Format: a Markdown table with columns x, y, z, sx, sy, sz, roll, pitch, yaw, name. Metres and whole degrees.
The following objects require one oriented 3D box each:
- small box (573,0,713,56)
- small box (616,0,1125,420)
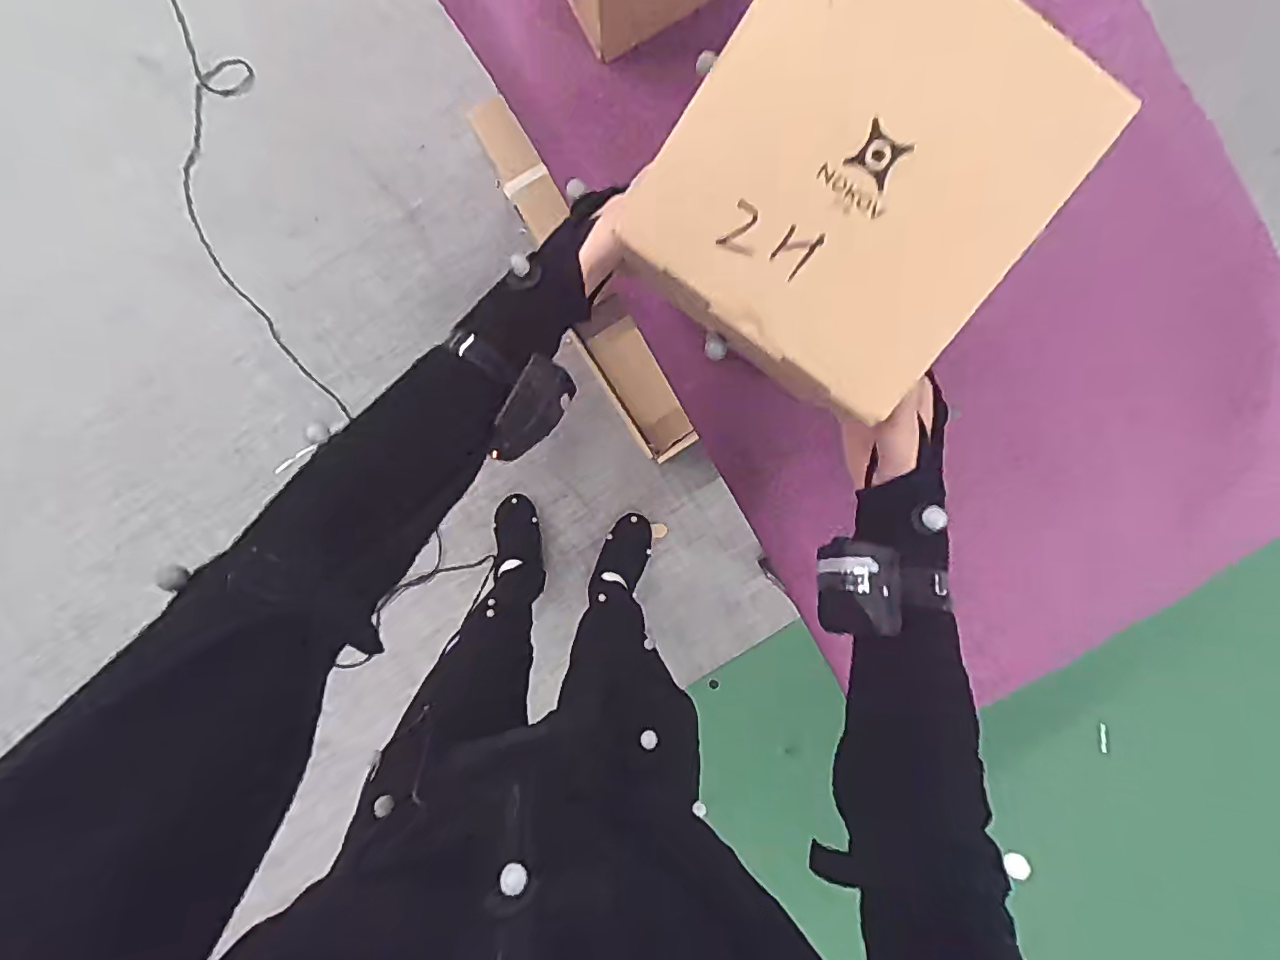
| x | y | z | sx | sy | sz | roll | pitch | yaw | name |
| --- | --- | --- | --- | --- | --- | --- | --- | --- | --- |
| 0.002 | -0.559 | 0.499 | 0.179 | 0.176 | 0.168 | -30 | 93 | 1 | small box |
| 0.105 | -0.162 | 0.326 | 0.168 | 0.176 | 0.179 | 35 | 103 | -4 | small box |
